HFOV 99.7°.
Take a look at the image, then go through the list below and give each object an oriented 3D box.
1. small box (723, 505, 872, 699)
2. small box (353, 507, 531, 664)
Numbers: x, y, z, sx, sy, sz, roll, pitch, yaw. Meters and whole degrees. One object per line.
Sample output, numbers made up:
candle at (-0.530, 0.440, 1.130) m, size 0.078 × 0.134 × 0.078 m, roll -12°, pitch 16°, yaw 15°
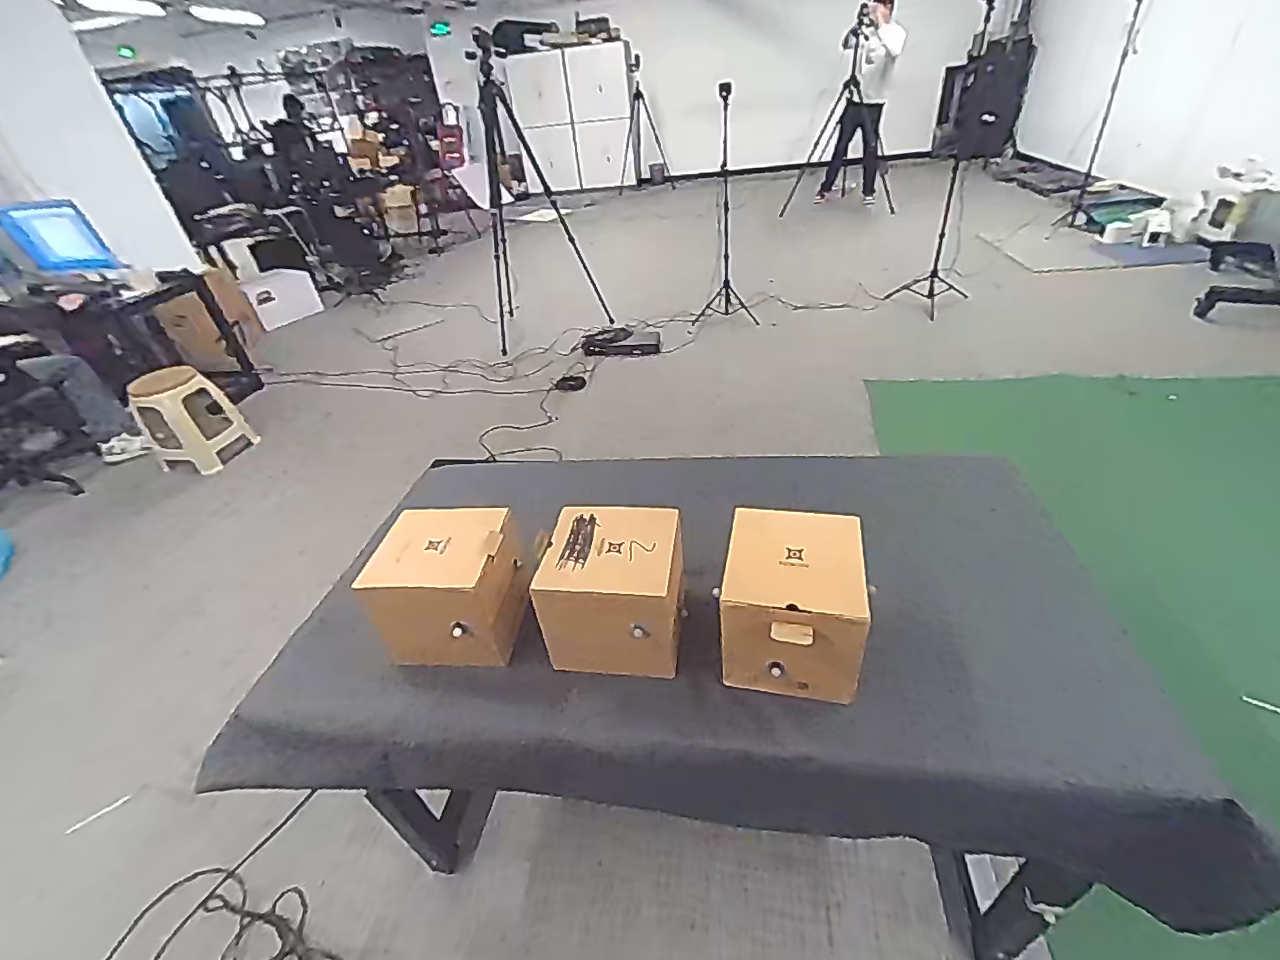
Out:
small box at (0.202, 0.158, 0.722) m, size 0.168 × 0.176 × 0.179 m, roll 4°, pitch 38°, yaw 14°
small box at (-0.276, 0.157, 0.805) m, size 0.179 × 0.176 × 0.168 m, roll -3°, pitch 35°, yaw 7°
